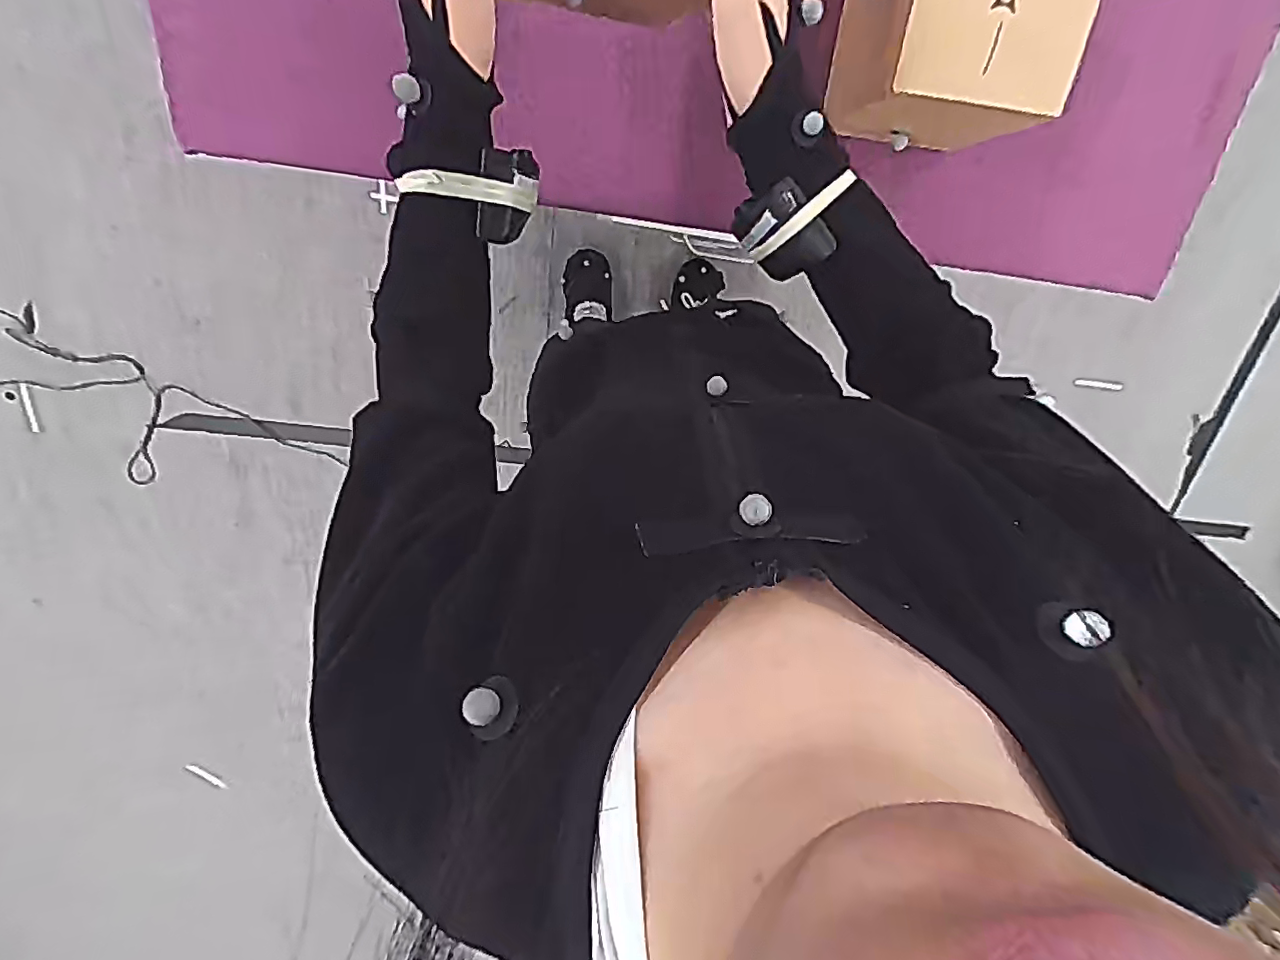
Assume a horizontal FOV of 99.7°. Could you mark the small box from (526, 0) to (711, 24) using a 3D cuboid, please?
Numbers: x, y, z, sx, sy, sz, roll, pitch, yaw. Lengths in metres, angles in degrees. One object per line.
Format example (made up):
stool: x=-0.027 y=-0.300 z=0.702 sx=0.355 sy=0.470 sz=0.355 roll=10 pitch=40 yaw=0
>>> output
small box: x=-0.038 y=-0.424 z=0.351 sx=0.179 sy=0.176 sz=0.168 roll=1 pitch=123 yaw=-14

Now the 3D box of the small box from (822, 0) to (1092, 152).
small box: x=0.299 y=-0.446 z=0.529 sx=0.168 sy=0.176 sz=0.179 roll=4 pitch=112 yaw=-7
